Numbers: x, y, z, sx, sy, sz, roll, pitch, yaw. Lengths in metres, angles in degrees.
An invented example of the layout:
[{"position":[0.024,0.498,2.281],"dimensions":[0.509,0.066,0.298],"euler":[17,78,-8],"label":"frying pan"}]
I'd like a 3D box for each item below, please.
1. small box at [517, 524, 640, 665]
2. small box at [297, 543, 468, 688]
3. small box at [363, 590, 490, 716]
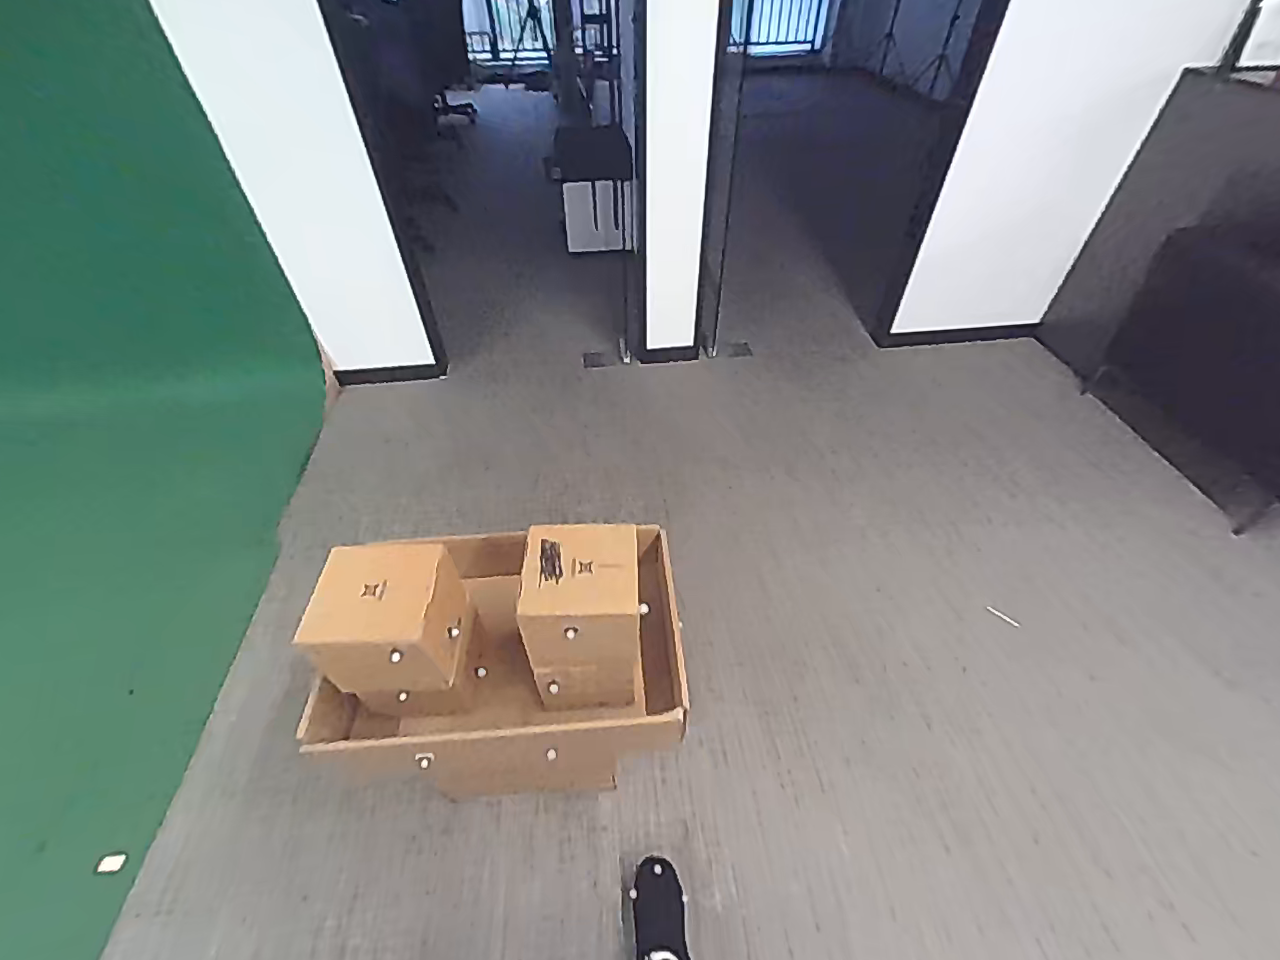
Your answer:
[{"position":[-0.089,0.187,0.875],"dimensions":[0.179,0.176,0.168],"euler":[0,46,-1],"label":"small box"},{"position":[-0.390,0.217,0.856],"dimensions":[0.179,0.176,0.168],"euler":[-1,47,-2],"label":"small box"},{"position":[-0.388,0.318,0.984],"dimensions":[0.179,0.176,0.168],"euler":[-1,47,-2],"label":"small box"}]
